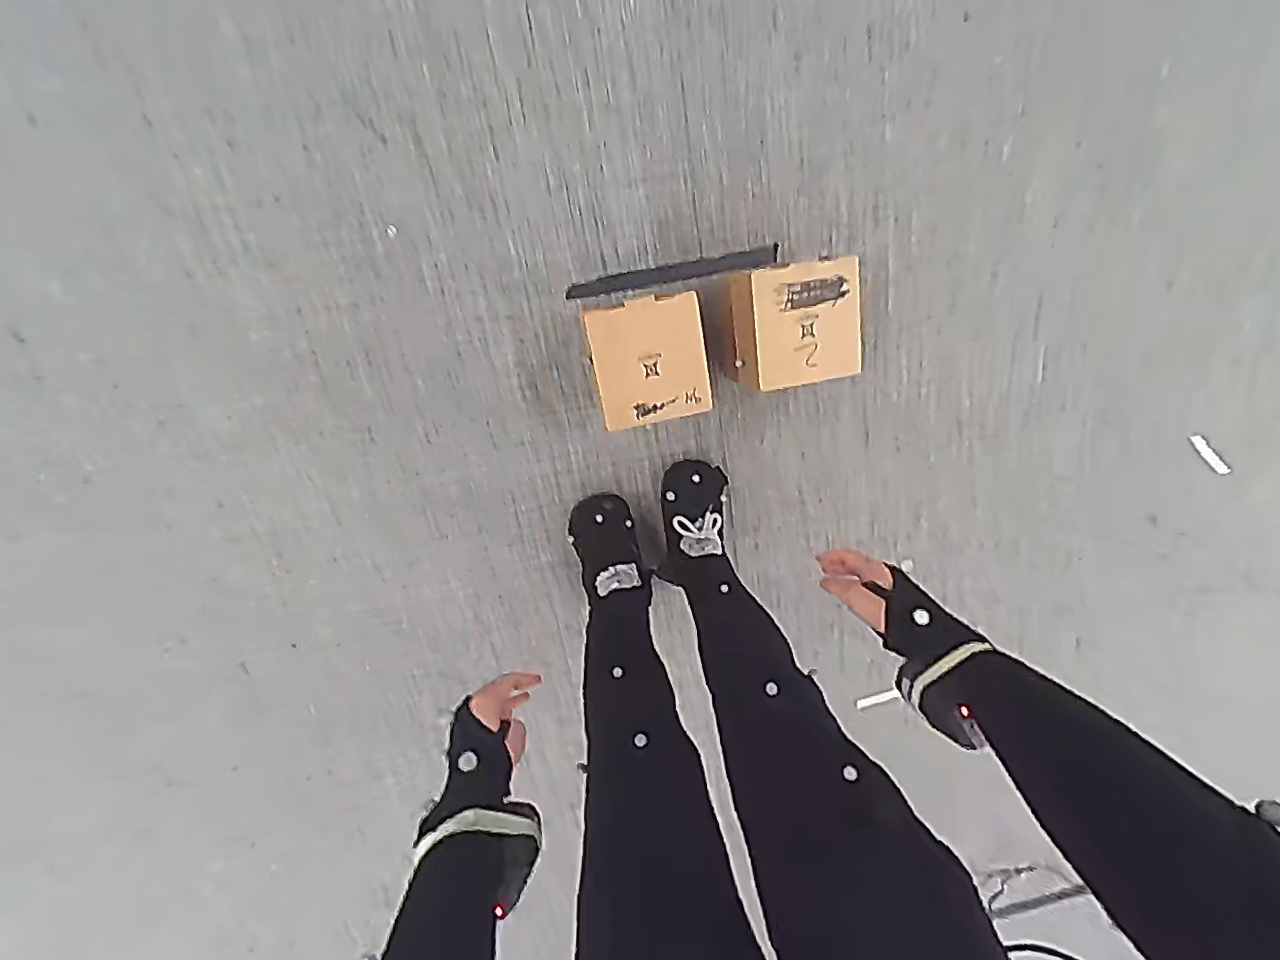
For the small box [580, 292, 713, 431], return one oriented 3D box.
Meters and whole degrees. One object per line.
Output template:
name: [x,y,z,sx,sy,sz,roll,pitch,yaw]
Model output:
small box: [0.004,-0.191,0.857,0.168,0.176,0.179,-13,109,-5]
